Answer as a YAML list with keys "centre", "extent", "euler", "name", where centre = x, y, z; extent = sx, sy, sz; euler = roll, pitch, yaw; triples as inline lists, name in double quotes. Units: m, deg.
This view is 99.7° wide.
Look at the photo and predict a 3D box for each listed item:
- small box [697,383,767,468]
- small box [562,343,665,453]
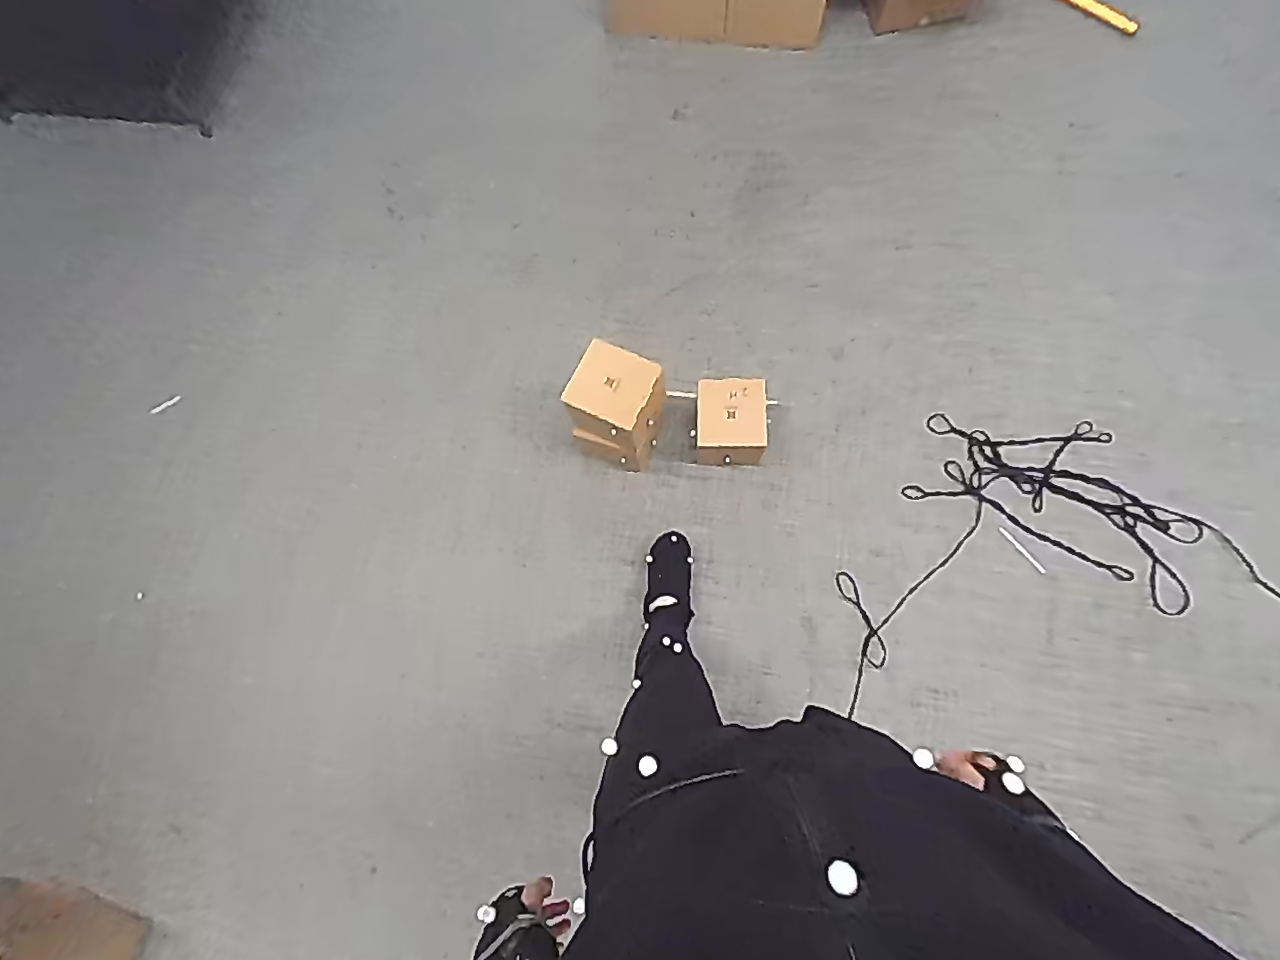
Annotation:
- centre: [0.231, -0.133, 1.376]
  extent: [0.168, 0.176, 0.179]
  euler: [0, 75, 6]
  name: "small box"
- centre: [-0.053, -0.181, 1.250]
  extent: [0.179, 0.176, 0.168]
  euler: [24, 78, 10]
  name: "small box"
